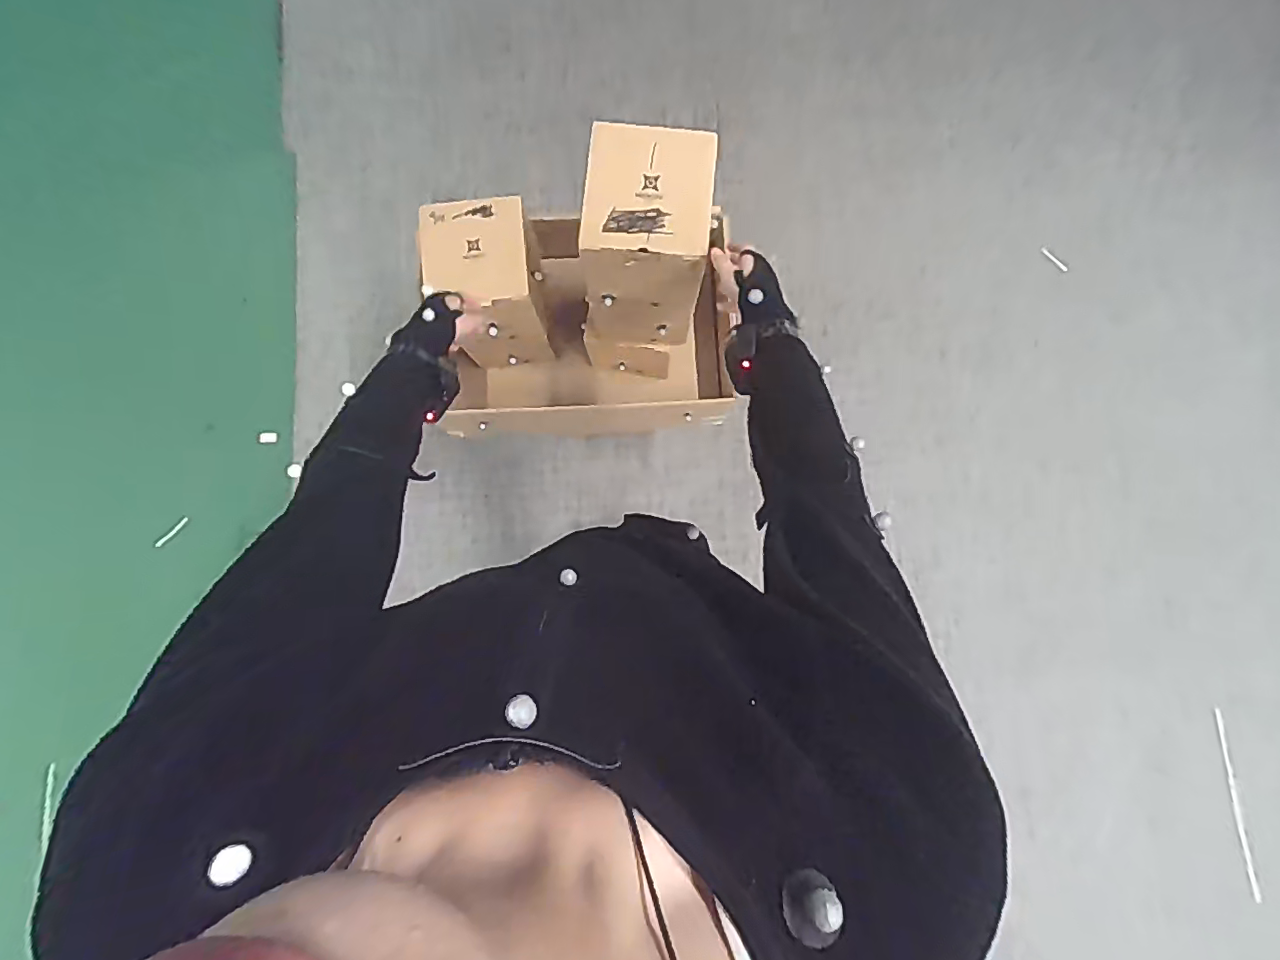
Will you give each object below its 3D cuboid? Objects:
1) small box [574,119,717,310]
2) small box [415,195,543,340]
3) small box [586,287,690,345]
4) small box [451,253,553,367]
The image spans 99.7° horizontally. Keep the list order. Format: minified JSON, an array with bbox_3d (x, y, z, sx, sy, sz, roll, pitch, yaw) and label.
[{"bbox_3d":[0.008,-0.358,0.759,0.168,0.176,0.179,6,83,0],"label":"small box"},{"bbox_3d":[-0.264,-0.348,0.920,0.168,0.176,0.179,-6,84,-1],"label":"small box"},{"bbox_3d":[0.003,-0.342,0.922,0.168,0.176,0.179,3,83,0],"label":"small box"},{"bbox_3d":[-0.273,-0.342,1.084,0.168,0.176,0.179,-6,84,0],"label":"small box"}]
